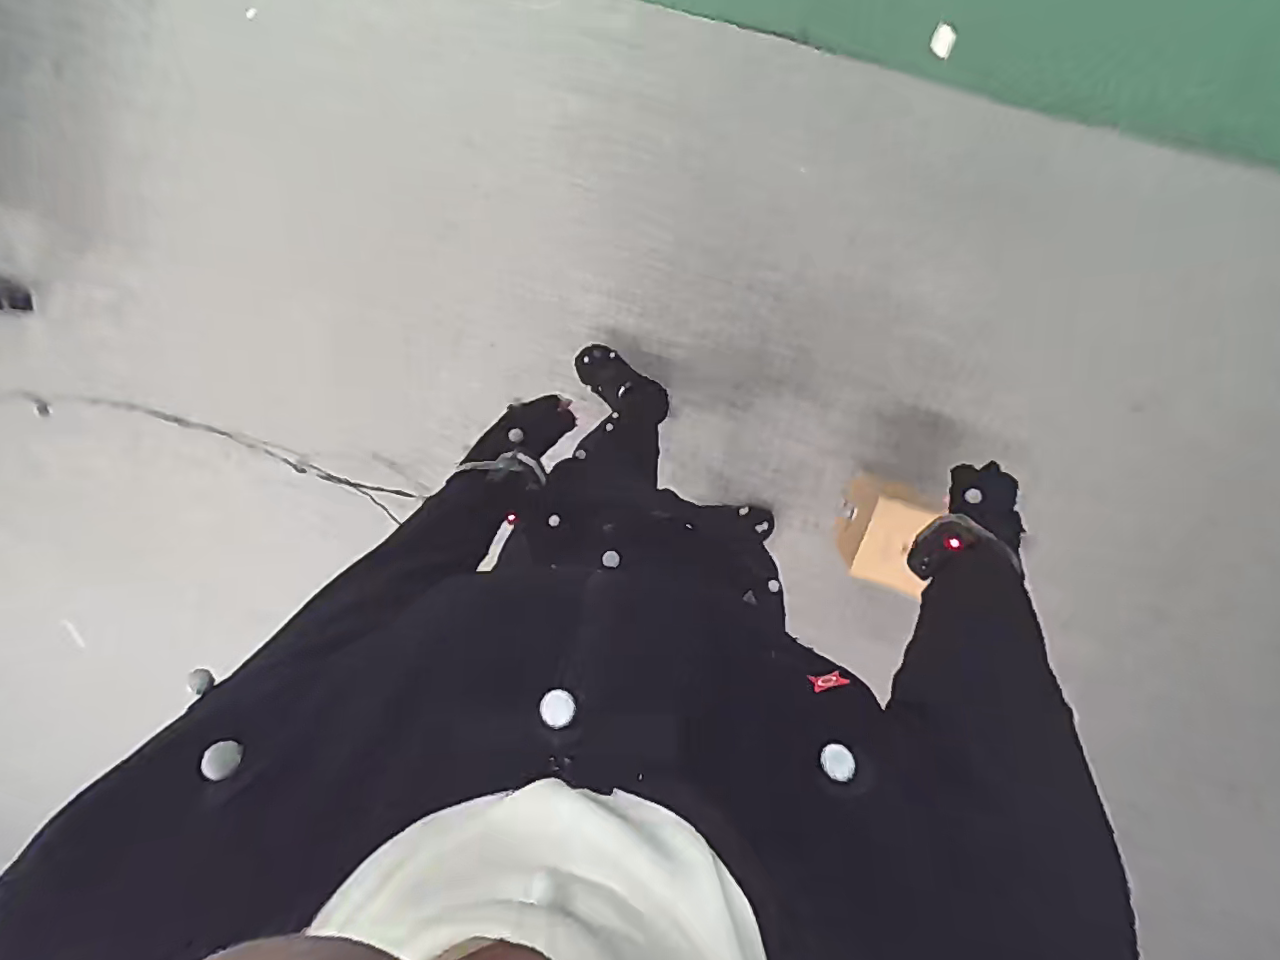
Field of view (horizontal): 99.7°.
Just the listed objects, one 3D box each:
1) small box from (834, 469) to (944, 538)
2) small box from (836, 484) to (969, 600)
[{"bbox_3d":[0.570,0.091,1.269,0.168,0.176,0.179,19,105,6],"label":"small box"},{"bbox_3d":[0.527,0.119,1.114,0.179,0.176,0.168,18,103,7],"label":"small box"}]
